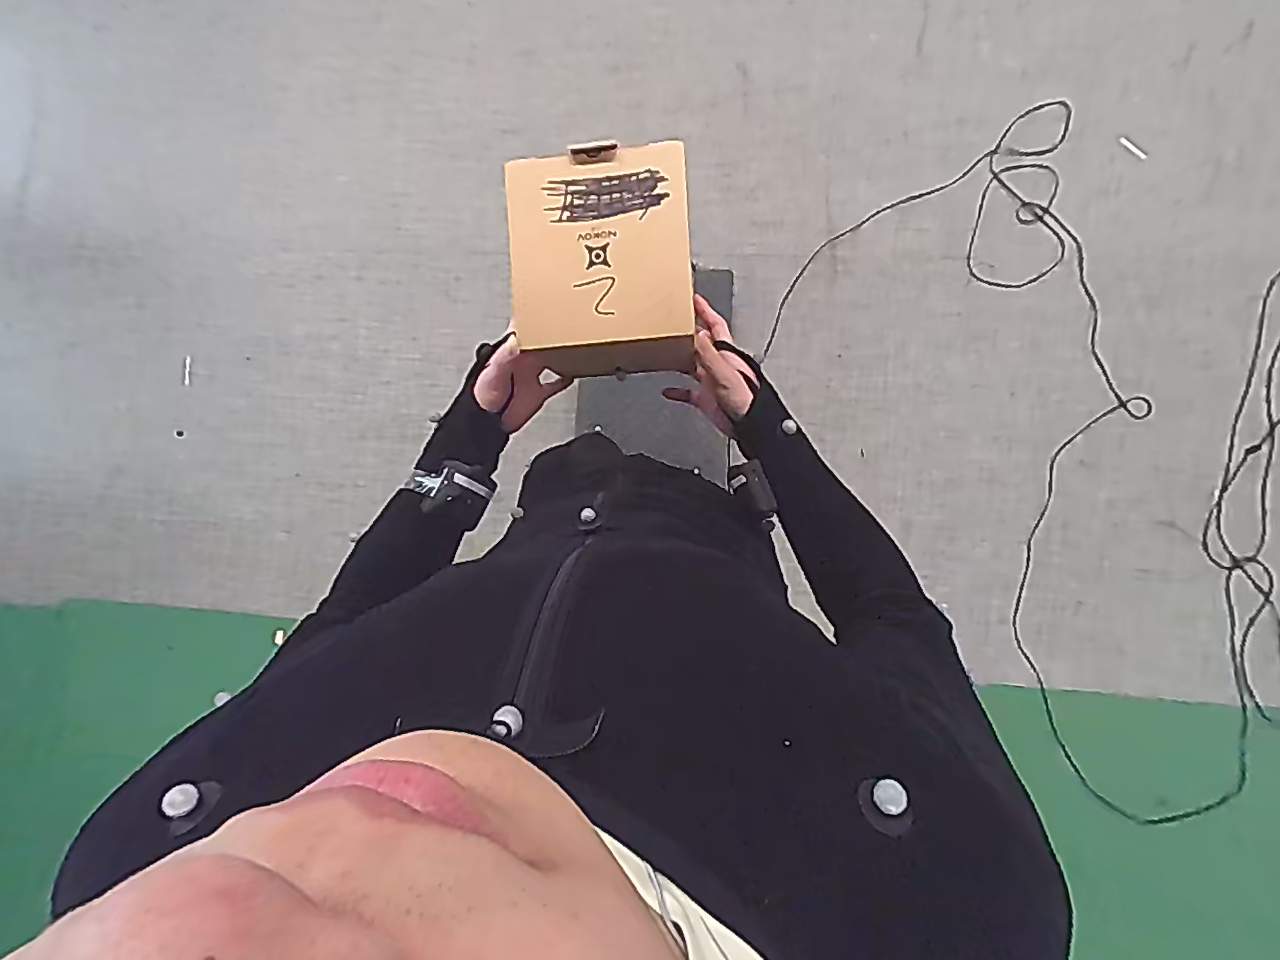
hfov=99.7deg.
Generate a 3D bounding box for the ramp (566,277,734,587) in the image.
[{"bbox_3d":[0.039,-0.179,1.705,0.509,0.206,0.991,0,89,8],"label":"ramp"}]
